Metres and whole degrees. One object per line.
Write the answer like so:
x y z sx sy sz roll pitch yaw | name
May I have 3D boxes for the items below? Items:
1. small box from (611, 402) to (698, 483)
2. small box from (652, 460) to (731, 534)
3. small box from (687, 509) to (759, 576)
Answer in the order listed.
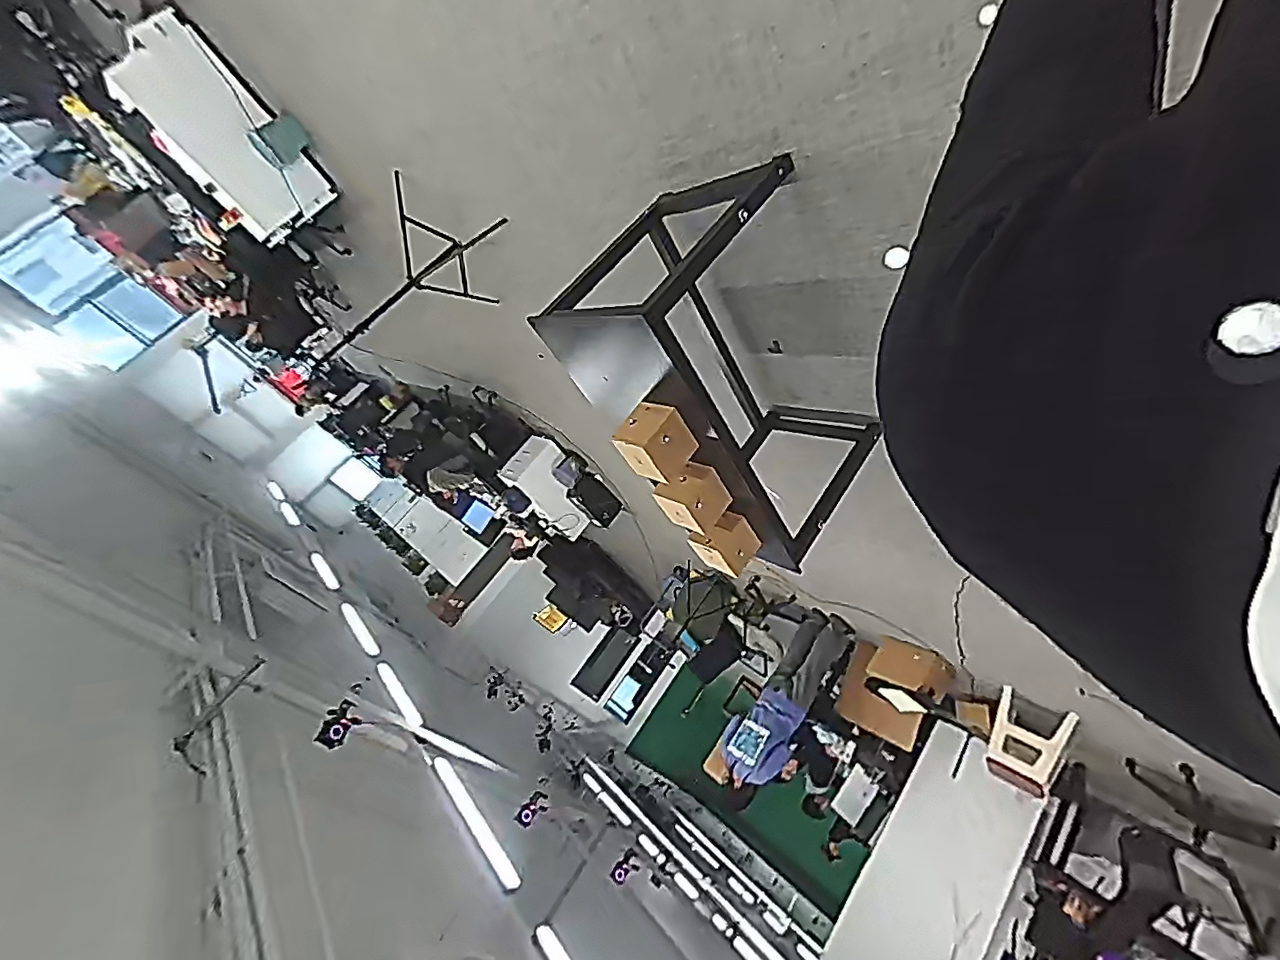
0.049 -0.122 1.691 0.168 0.176 0.179 20 156 49 | small box
0.180 0.051 1.857 0.168 0.176 0.179 20 155 47 | small box
0.317 0.223 2.020 0.168 0.176 0.179 17 153 50 | small box
